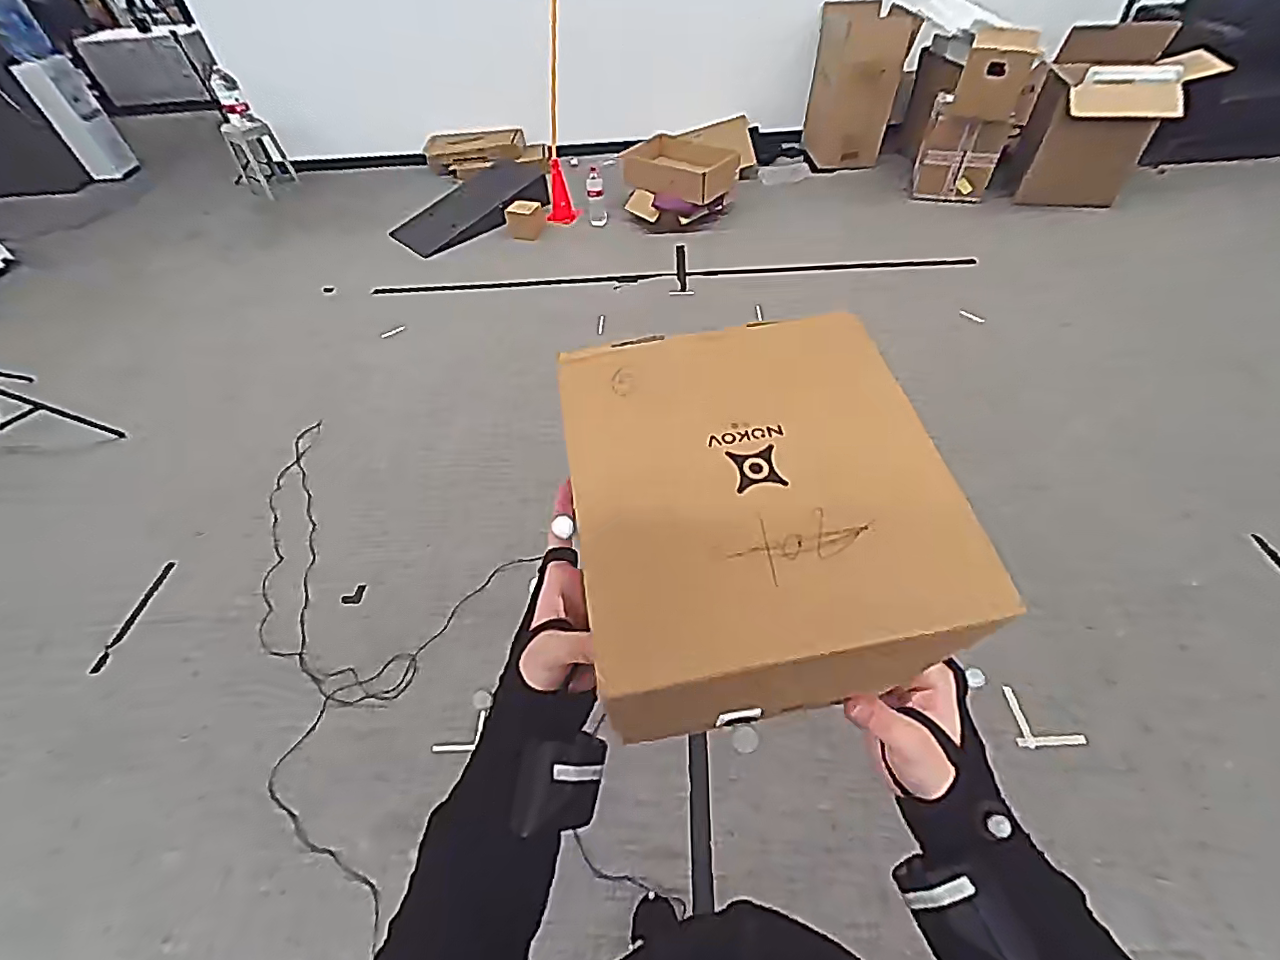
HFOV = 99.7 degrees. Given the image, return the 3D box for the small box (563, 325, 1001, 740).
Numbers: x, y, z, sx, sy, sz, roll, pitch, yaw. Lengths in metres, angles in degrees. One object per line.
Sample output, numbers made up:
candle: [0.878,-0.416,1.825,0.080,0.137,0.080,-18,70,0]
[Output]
small box: [0.053,0.039,0.323,0.168,0.176,0.179,-10,60,-5]
